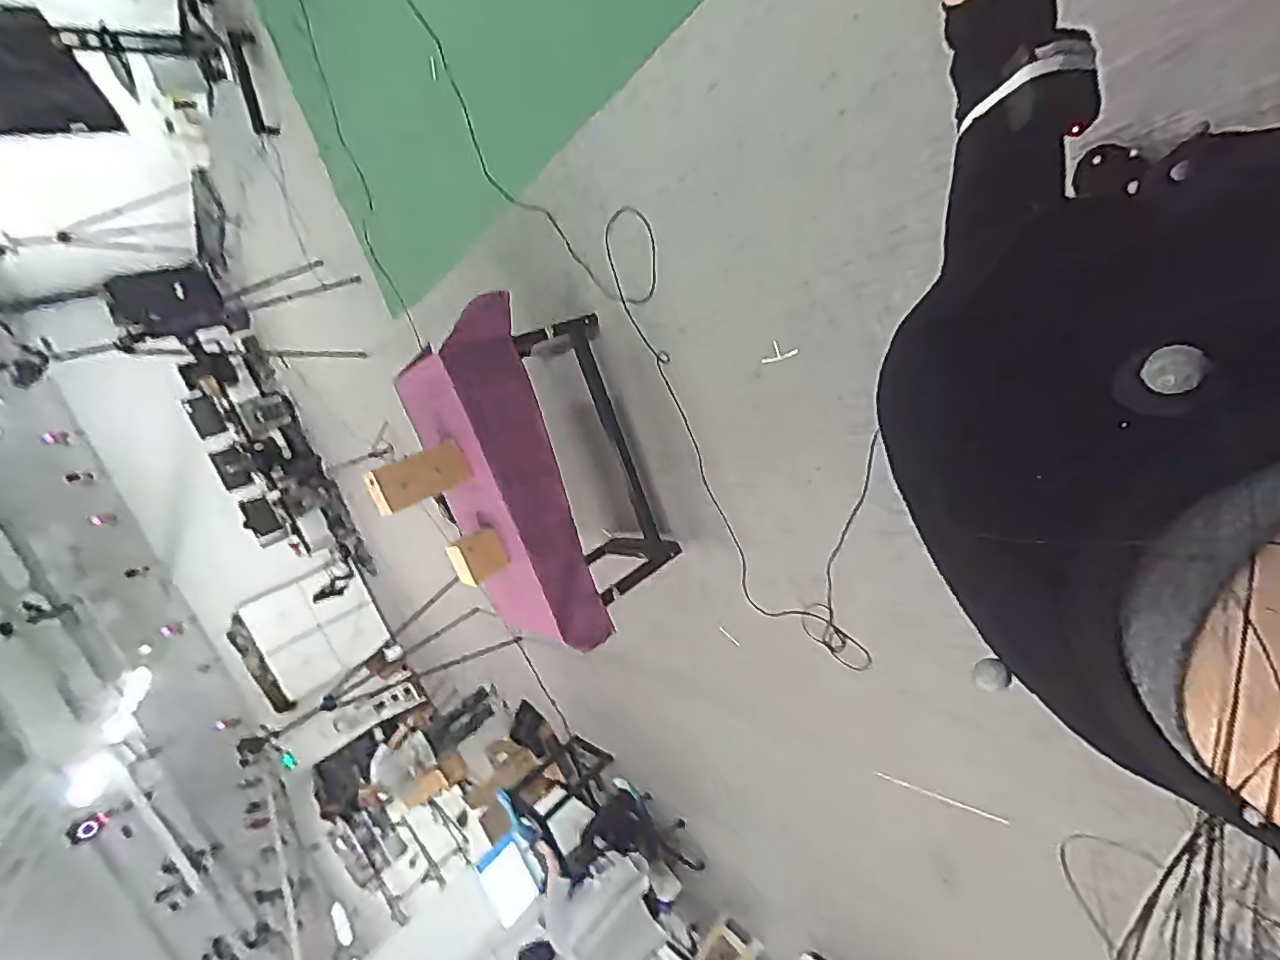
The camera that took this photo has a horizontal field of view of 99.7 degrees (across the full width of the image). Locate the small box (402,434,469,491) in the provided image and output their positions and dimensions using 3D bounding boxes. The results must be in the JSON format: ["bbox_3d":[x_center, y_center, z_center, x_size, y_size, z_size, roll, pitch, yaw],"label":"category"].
[{"bbox_3d":[-0.803,-0.066,2.131,0.168,0.176,0.179,-4,110,51],"label":"small box"}]

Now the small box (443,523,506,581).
[{"bbox_3d":[-0.676,0.294,2.220,0.168,0.176,0.179,-6,107,52],"label":"small box"}]

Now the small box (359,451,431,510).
[{"bbox_3d":[-0.920,-0.001,2.035,0.168,0.176,0.179,-5,110,51],"label":"small box"}]
